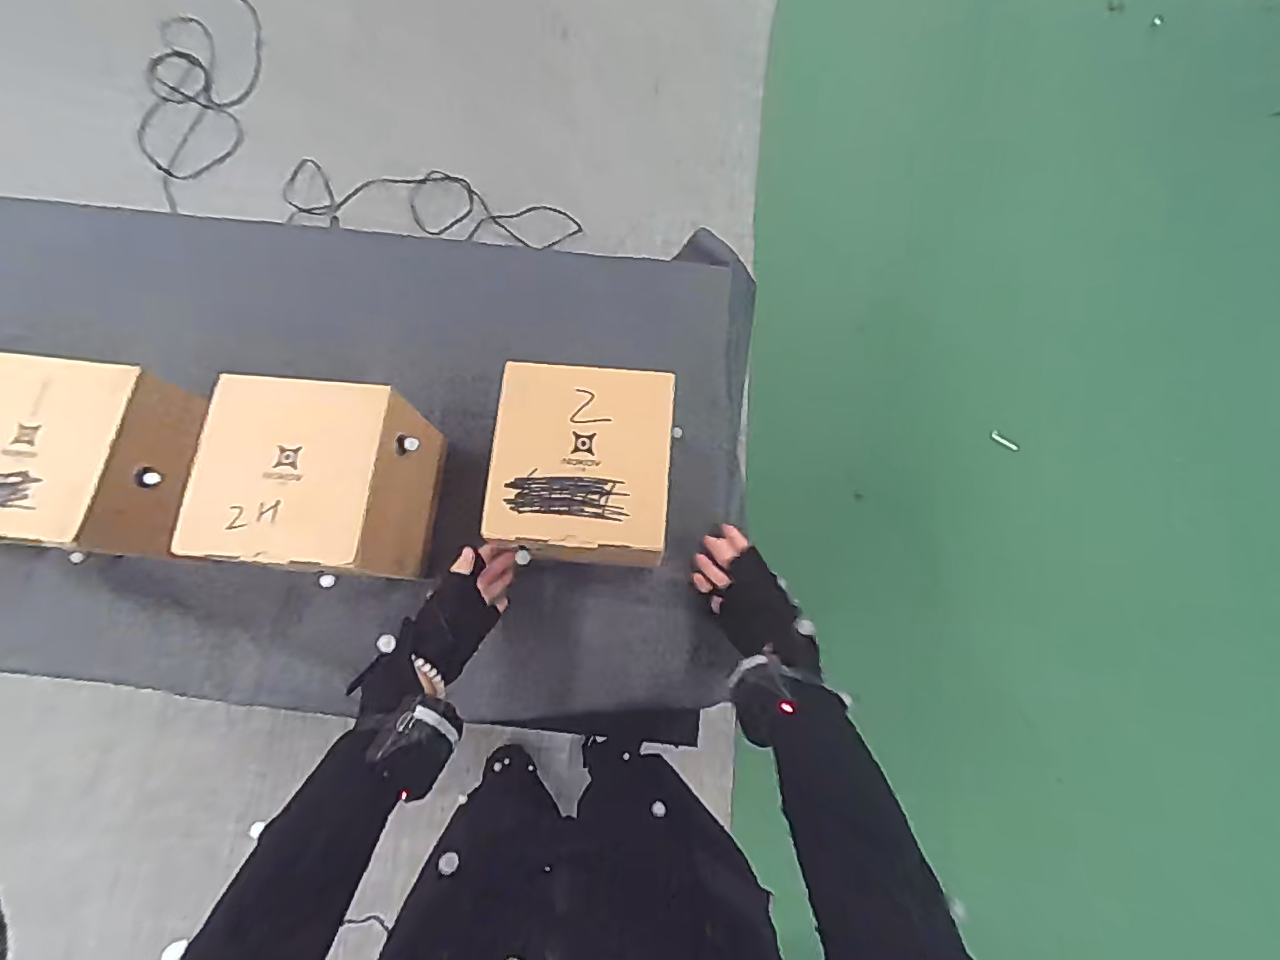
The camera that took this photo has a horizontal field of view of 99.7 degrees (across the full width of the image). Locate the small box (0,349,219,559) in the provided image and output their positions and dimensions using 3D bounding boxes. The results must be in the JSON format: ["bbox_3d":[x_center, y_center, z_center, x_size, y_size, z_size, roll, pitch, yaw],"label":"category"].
[{"bbox_3d":[-0.561,-0.016,0.575,0.168,0.176,0.179,6,75,0],"label":"small box"}]

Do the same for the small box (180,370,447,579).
[{"bbox_3d":[-0.319,0.005,0.573,0.168,0.176,0.179,5,76,1],"label":"small box"}]
